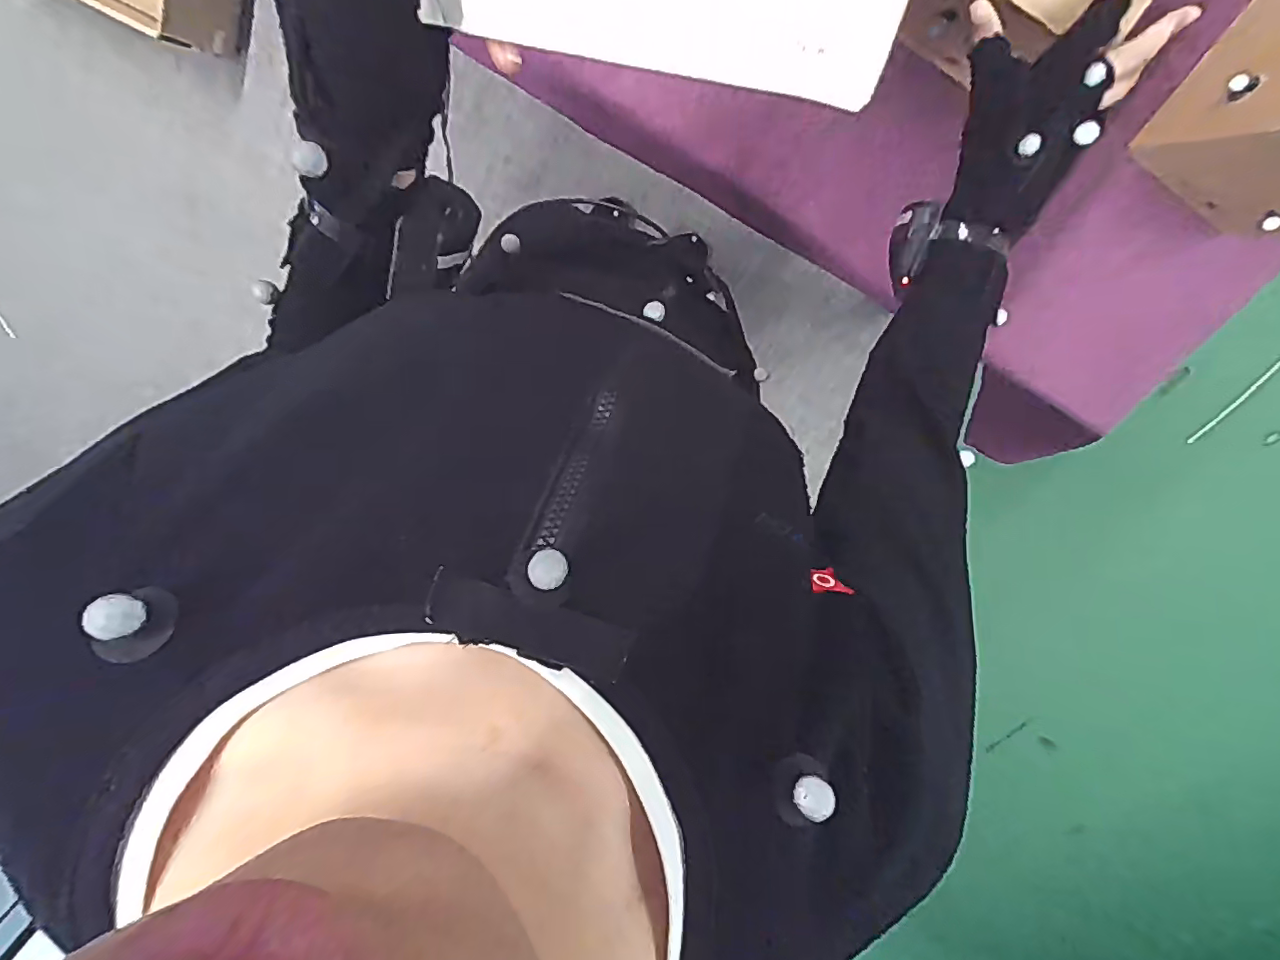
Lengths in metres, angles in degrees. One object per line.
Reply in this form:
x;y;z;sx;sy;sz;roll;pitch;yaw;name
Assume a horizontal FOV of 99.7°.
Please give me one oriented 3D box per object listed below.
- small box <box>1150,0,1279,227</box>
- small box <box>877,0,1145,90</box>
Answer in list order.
0.612;-0.339;0.469;0.168;0.176;0.179;28;115;-12;small box
0.314;-0.449;0.423;0.168;0.176;0.179;25;115;-11;small box
